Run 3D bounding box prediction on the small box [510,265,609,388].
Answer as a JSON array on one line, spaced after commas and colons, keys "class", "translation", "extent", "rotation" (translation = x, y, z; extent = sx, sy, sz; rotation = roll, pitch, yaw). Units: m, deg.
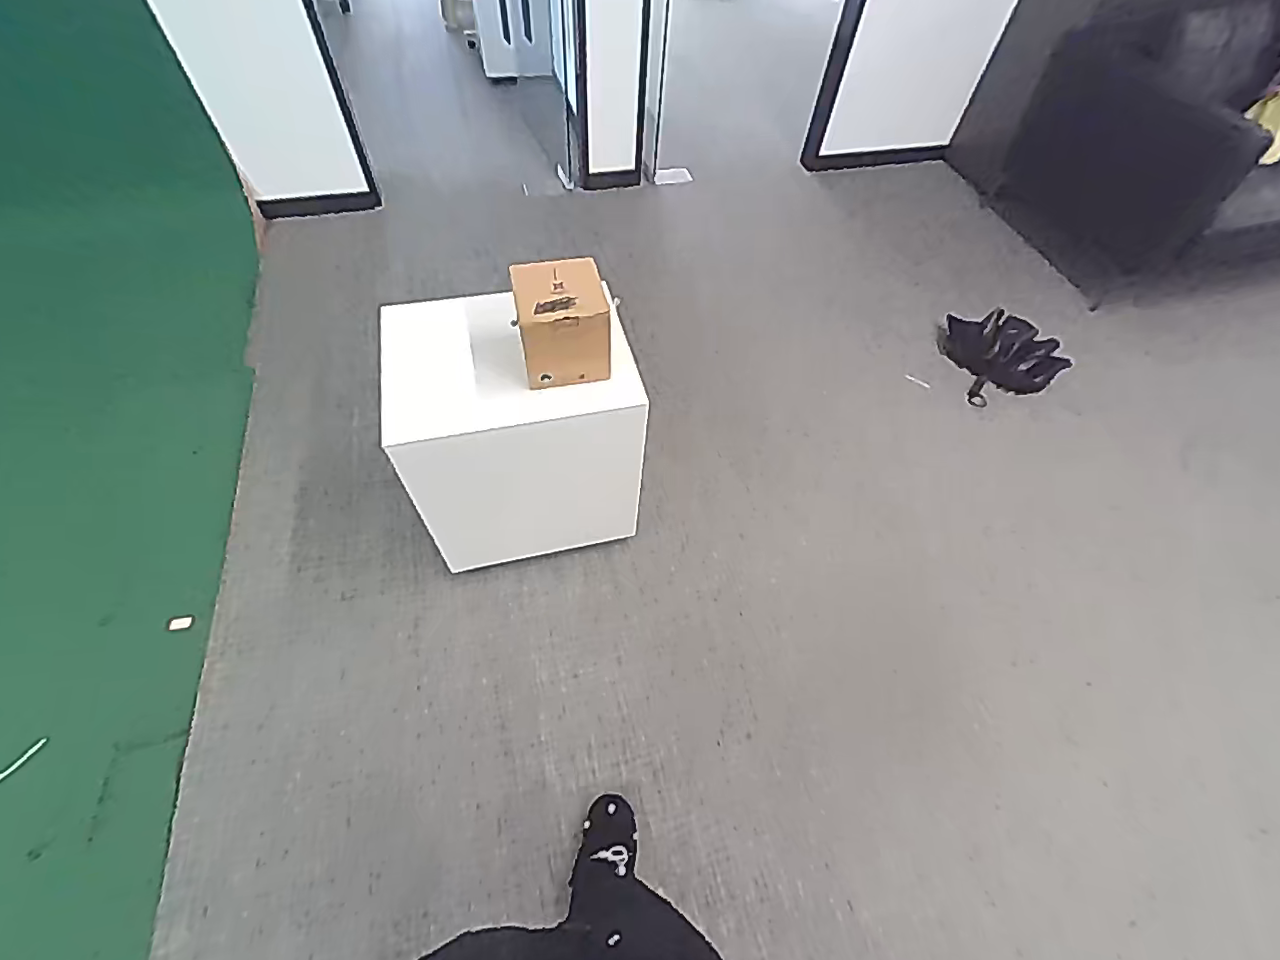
[{"class": "small box", "translation": [-0.158, -0.299, 1.083], "extent": [0.168, 0.176, 0.179], "rotation": [-10, 56, -10]}]
